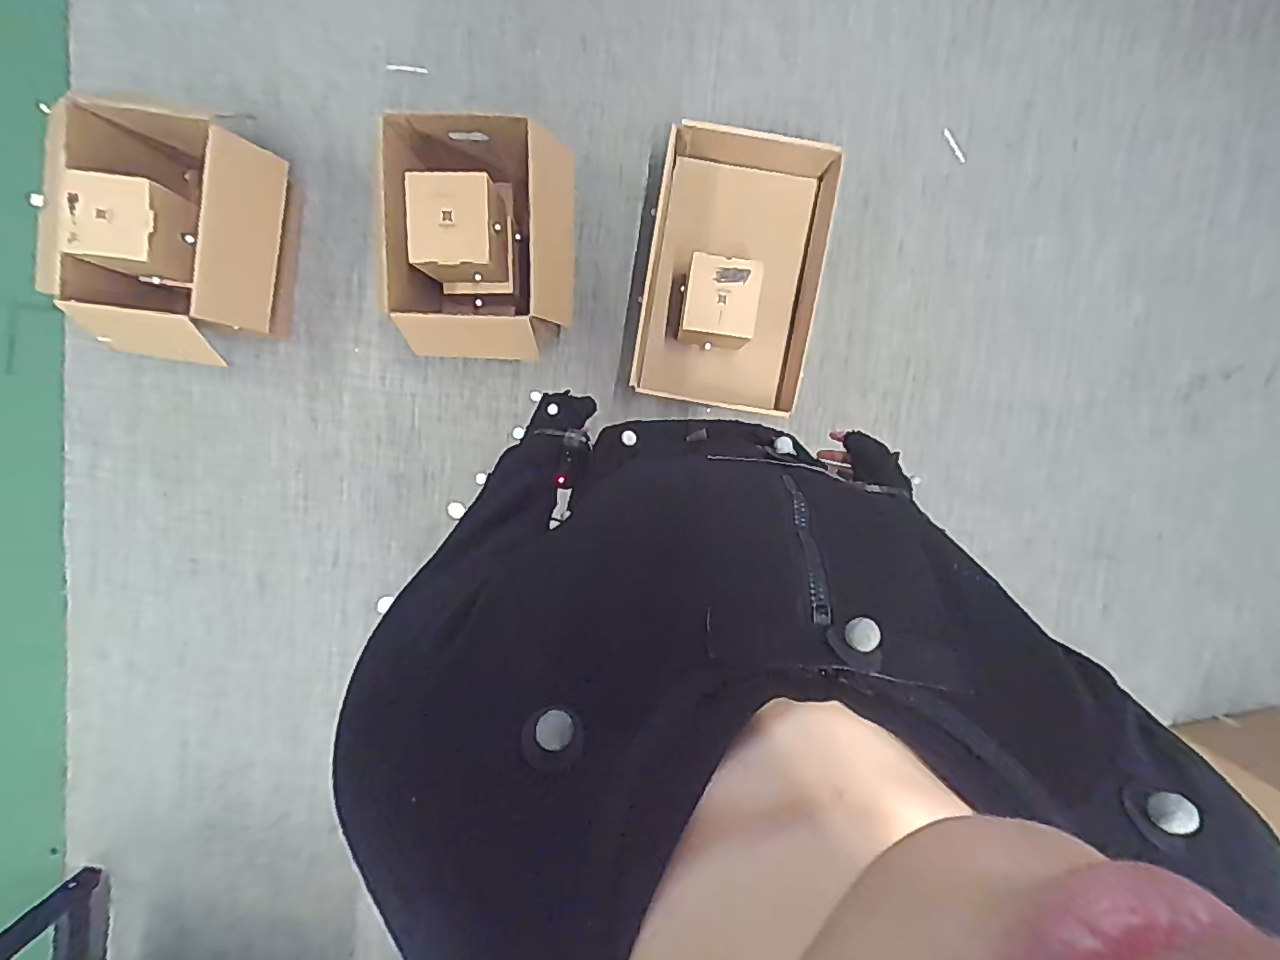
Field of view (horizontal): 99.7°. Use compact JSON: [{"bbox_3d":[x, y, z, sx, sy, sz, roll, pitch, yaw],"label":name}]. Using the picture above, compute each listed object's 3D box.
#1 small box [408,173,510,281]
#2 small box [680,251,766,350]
[{"bbox_3d":[-0.379,-0.532,1.159,0.168,0.176,0.179,1,97,0],"label":"small box"},{"bbox_3d":[0.191,-0.421,1.294,0.168,0.176,0.179,8,95,0],"label":"small box"}]
